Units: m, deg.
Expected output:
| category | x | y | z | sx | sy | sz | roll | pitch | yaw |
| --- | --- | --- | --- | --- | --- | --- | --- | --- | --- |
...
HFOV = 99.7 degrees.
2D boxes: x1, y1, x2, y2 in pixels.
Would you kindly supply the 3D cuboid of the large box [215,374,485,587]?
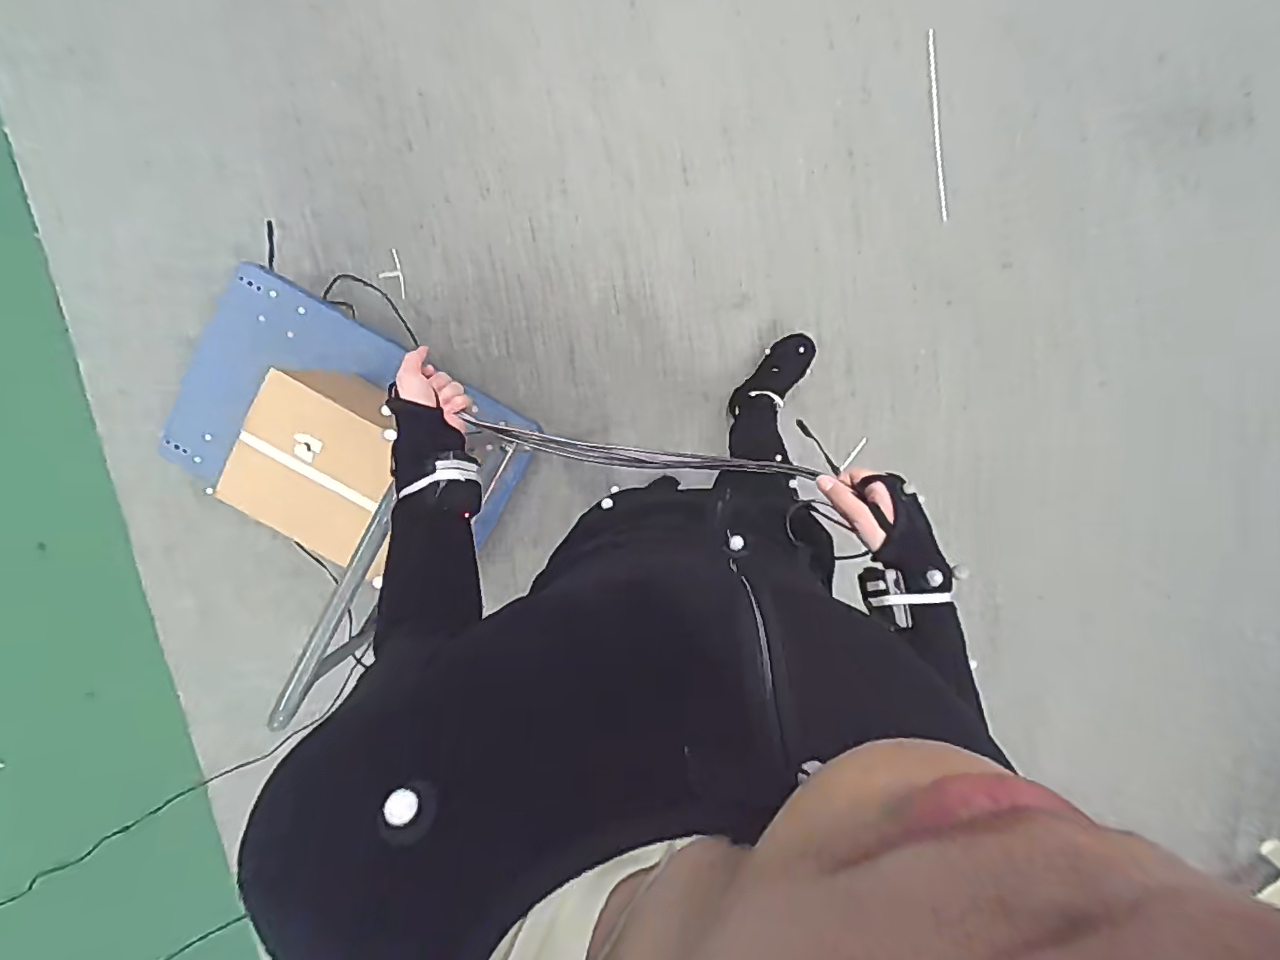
| category | x | y | z | sx | sy | sz | roll | pitch | yaw |
| --- | --- | --- | --- | --- | --- | --- | --- | --- | --- |
| large box | -0.645 | -0.015 | 1.271 | 0.408 | 0.320 | 0.320 | 30 | 98 | -2 |
